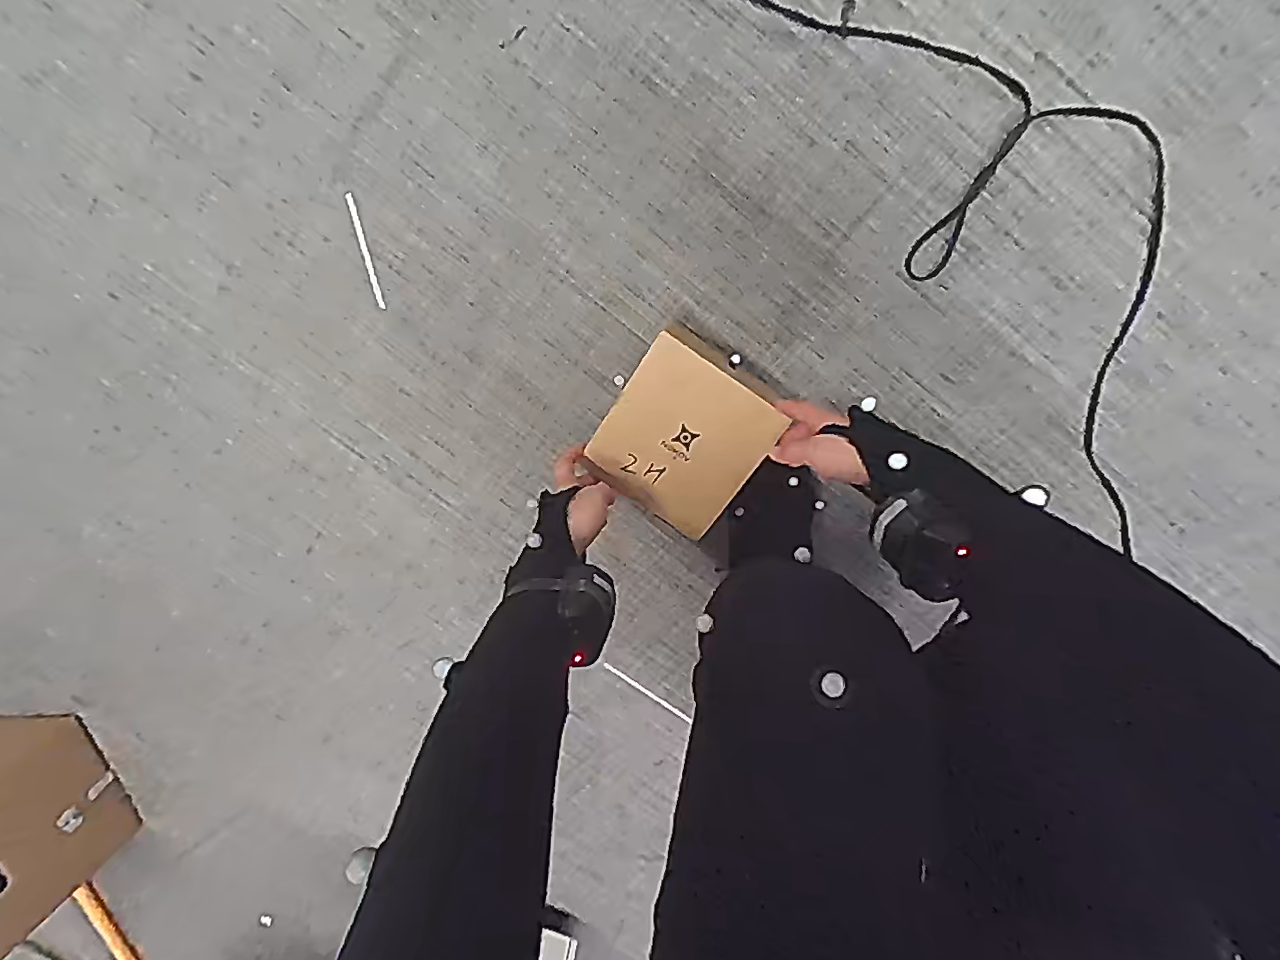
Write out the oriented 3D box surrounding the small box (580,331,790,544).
[{"bbox_3d":[0.052,-0.063,0.654,0.168,0.176,0.179,32,111,-4],"label":"small box"}]
